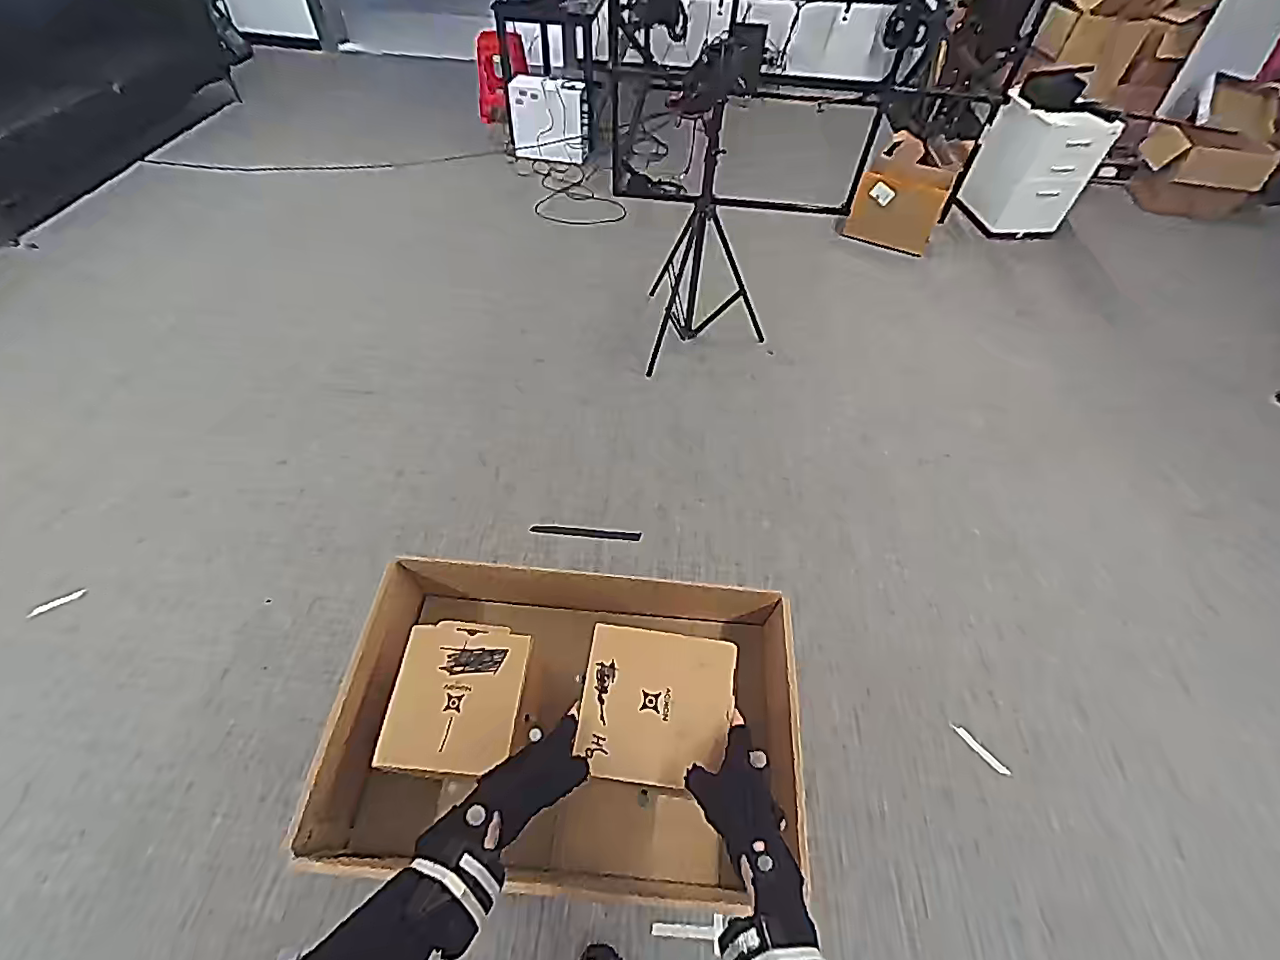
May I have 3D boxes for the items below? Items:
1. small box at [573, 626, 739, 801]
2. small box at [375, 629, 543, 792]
[{"bbox_3d":[0.019,0.302,0.687,0.179,0.176,0.168,8,57,2],"label":"small box"},{"bbox_3d":[-0.236,0.328,0.762,0.168,0.176,0.179,5,57,1],"label":"small box"}]
